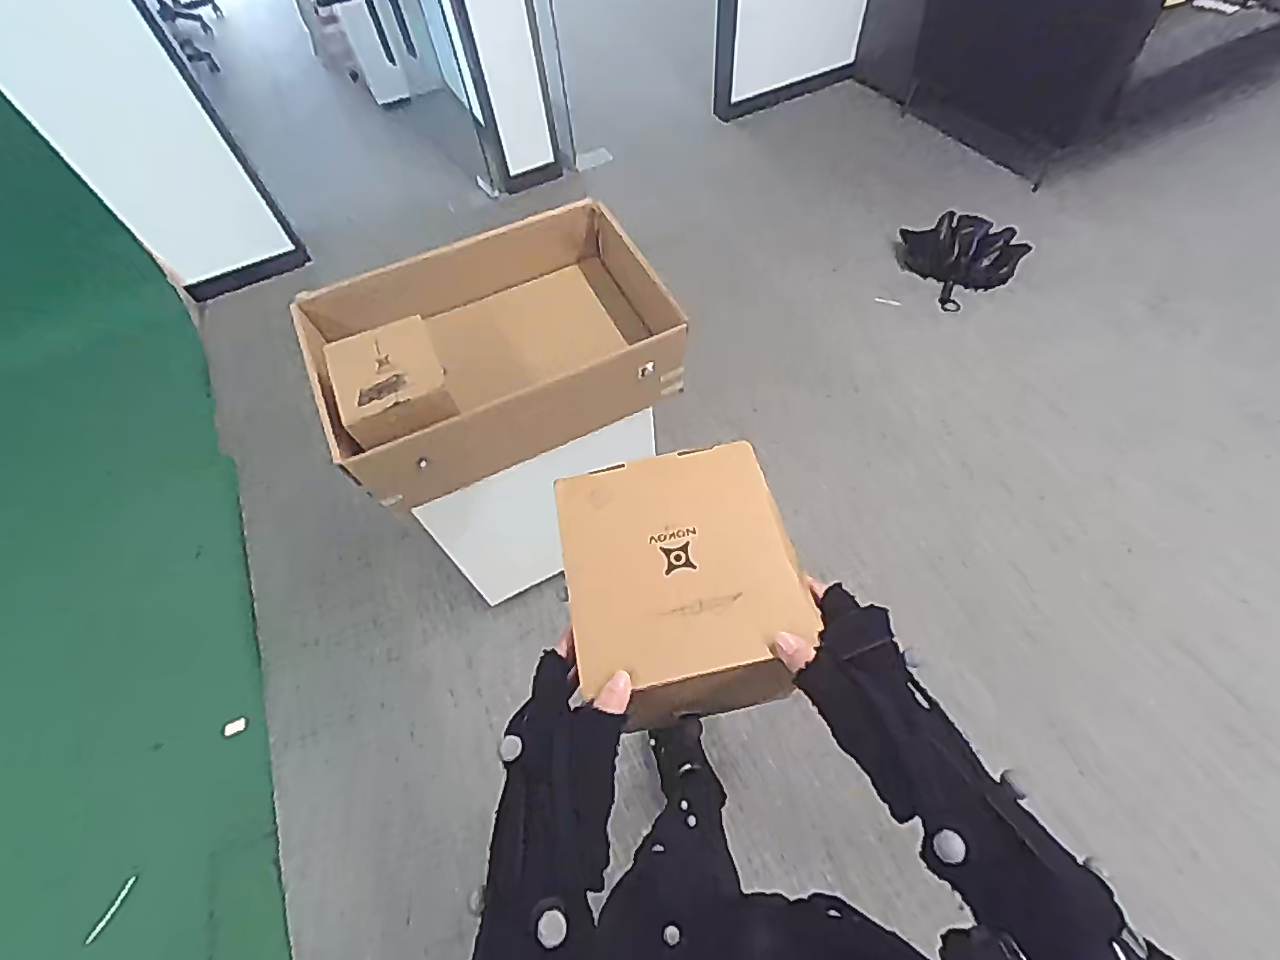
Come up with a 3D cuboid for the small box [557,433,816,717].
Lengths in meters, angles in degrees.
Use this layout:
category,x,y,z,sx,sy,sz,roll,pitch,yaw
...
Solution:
category,x,y,z,sx,sy,sz,roll,pitch,yaw
small box,0.029,0.088,0.470,0.168,0.176,0.179,-11,58,-2
